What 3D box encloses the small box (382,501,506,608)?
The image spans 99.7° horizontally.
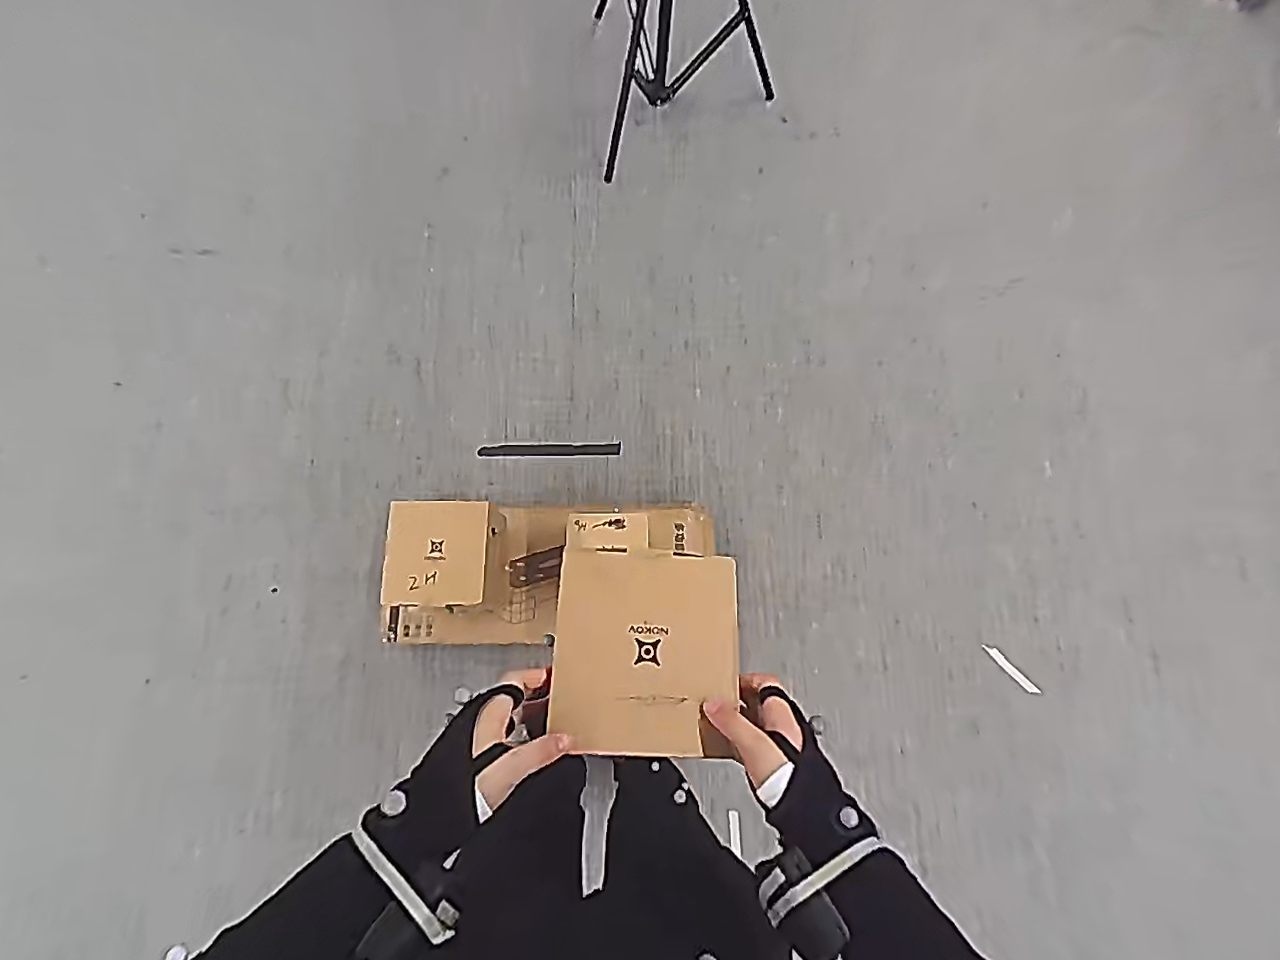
[{"bbox_3d":[-0.342,0.140,0.978,0.168,0.176,0.179,1,77,-3],"label":"small box"}]

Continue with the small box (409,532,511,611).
[{"bbox_3d":[-0.369,0.184,1.137,0.168,0.176,0.179,-1,78,-3],"label":"small box"}]

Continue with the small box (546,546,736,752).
[{"bbox_3d":[-0.003,0.176,0.562,0.168,0.176,0.179,3,70,-4],"label":"small box"}]

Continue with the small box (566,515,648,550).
[{"bbox_3d":[-0.067,0.172,1.154,0.168,0.176,0.179,0,78,0],"label":"small box"}]
